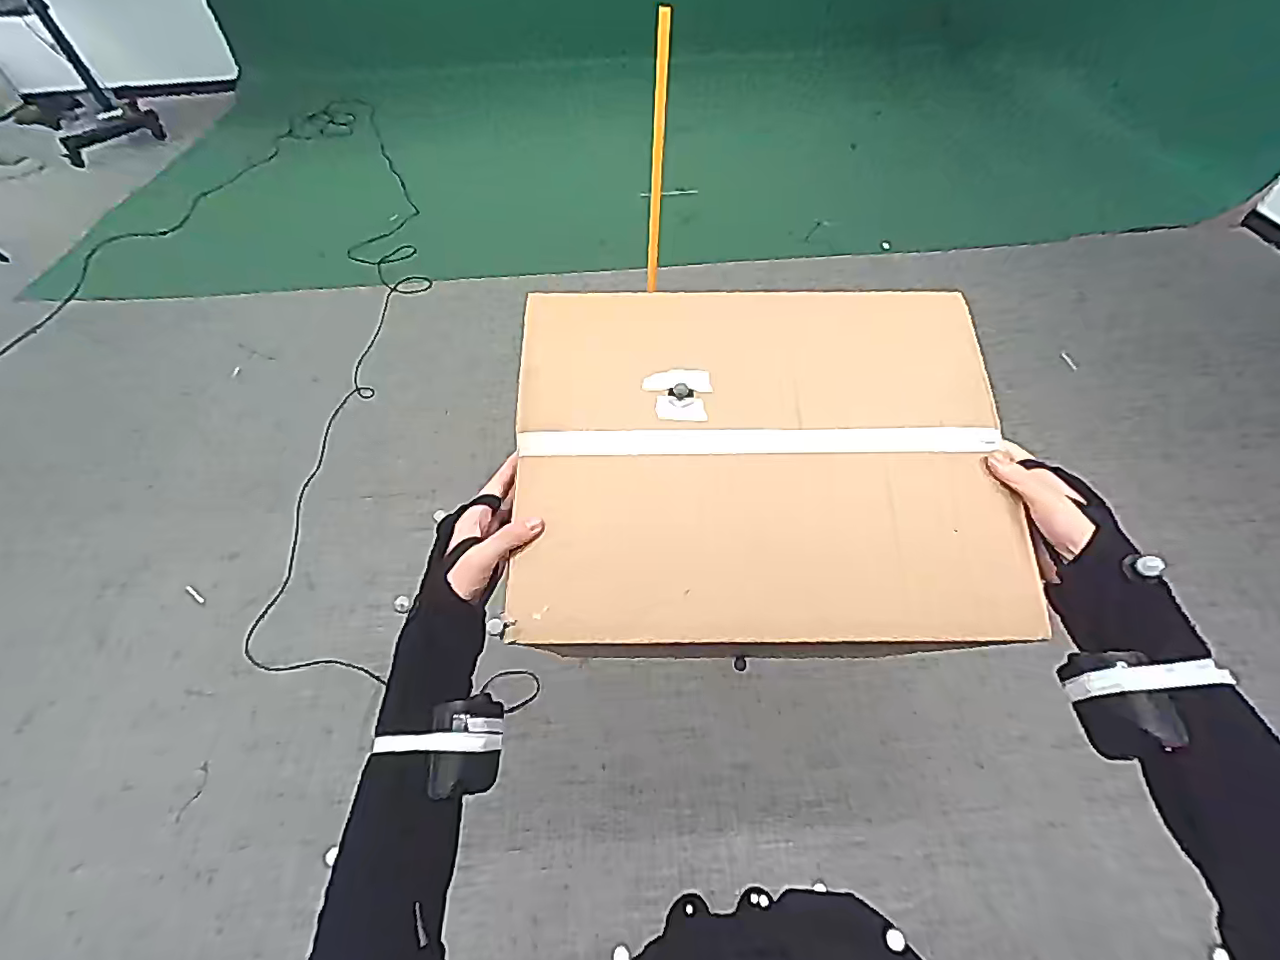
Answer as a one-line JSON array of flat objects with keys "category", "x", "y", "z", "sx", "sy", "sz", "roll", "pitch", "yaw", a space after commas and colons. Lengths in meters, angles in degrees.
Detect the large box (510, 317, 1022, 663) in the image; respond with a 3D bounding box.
[{"category": "large box", "x": 0.099, "y": 0.041, "z": 0.605, "sx": 0.408, "sy": 0.320, "sz": 0.320, "roll": 0, "pitch": 69, "yaw": 1}]
